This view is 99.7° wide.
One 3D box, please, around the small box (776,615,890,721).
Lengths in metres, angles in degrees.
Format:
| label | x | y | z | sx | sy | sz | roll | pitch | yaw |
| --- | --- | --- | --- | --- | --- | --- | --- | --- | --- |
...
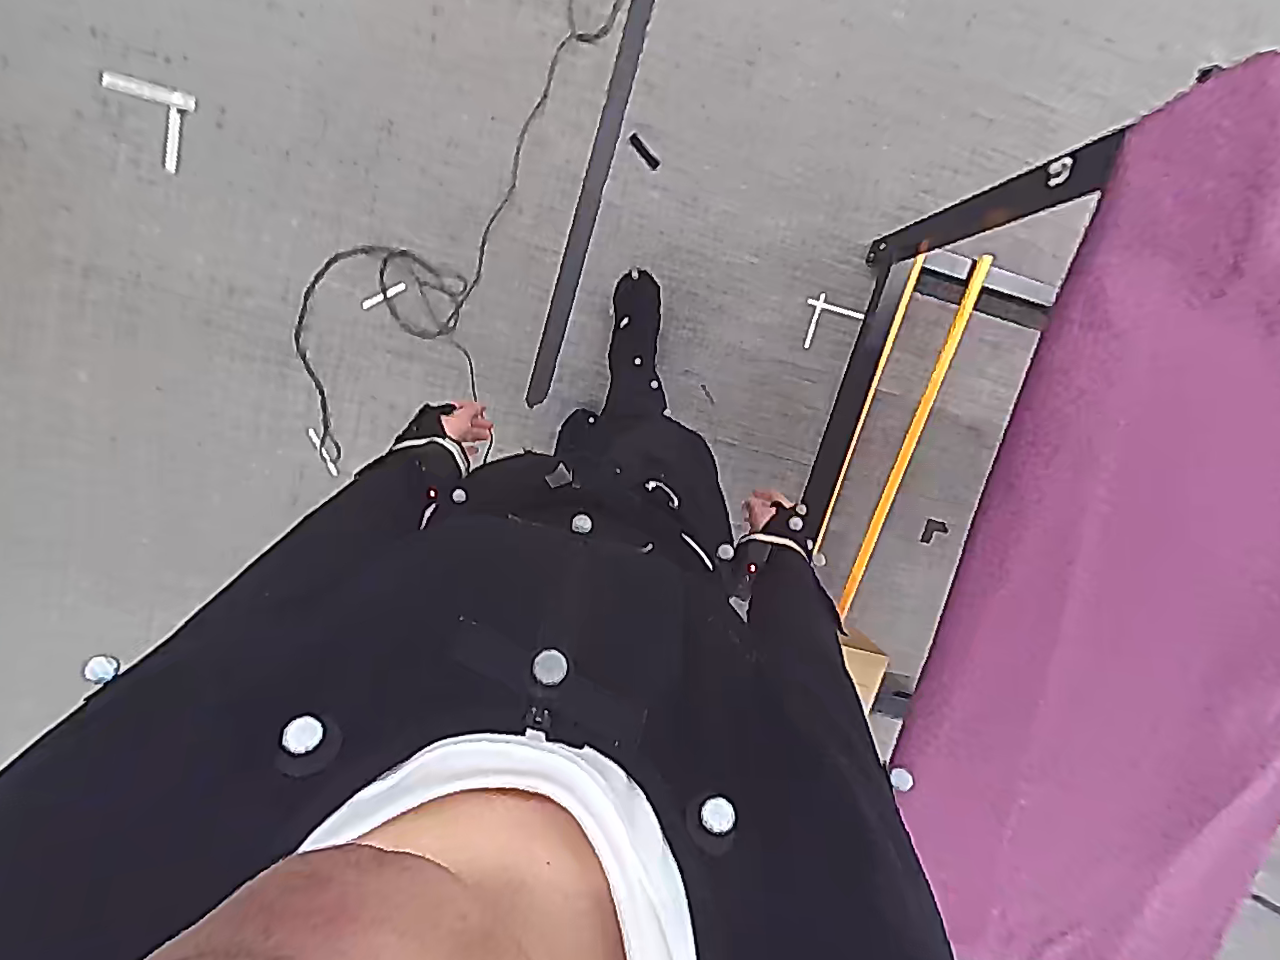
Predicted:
| label | x | y | z | sx | sy | sz | roll | pitch | yaw |
| --- | --- | --- | --- | --- | --- | --- | --- | --- | --- |
| small box | 0.451 | 0.441 | 1.293 | 0.179 | 0.176 | 0.168 | 16 | 98 | -9 |
